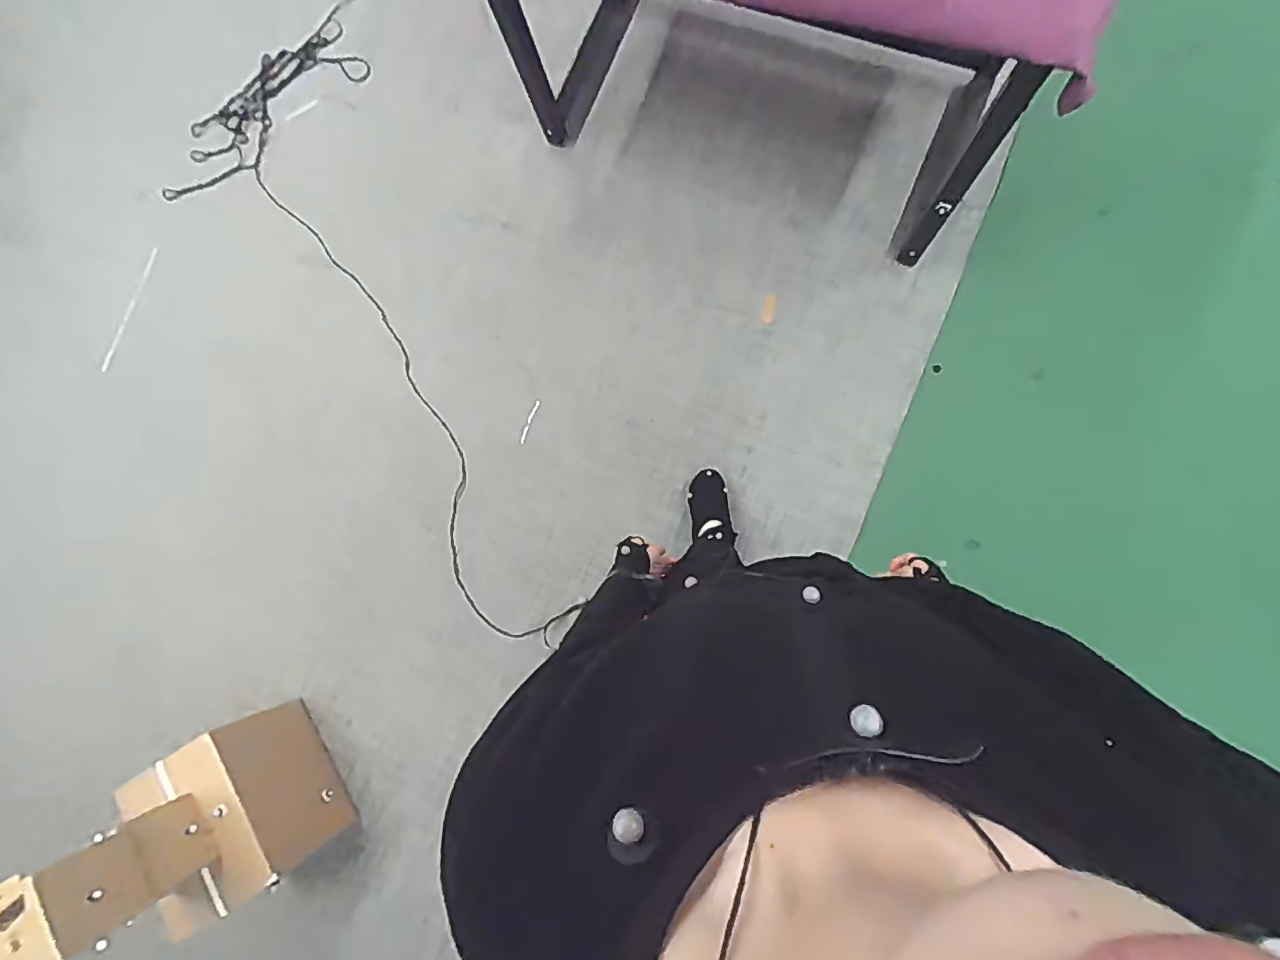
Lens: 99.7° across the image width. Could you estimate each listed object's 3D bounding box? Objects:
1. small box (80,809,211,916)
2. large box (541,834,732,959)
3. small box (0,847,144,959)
[{"bbox_3d":[-1.131,0.881,1.215,0.168,0.176,0.179,-38,79,3],"label":"small box"},{"bbox_3d":[-0.008,1.112,1.284,0.408,0.320,0.320,8,86,7],"label":"large box"},{"bbox_3d":[-1.137,0.861,1.050,0.168,0.176,0.179,-34,81,4],"label":"small box"}]
